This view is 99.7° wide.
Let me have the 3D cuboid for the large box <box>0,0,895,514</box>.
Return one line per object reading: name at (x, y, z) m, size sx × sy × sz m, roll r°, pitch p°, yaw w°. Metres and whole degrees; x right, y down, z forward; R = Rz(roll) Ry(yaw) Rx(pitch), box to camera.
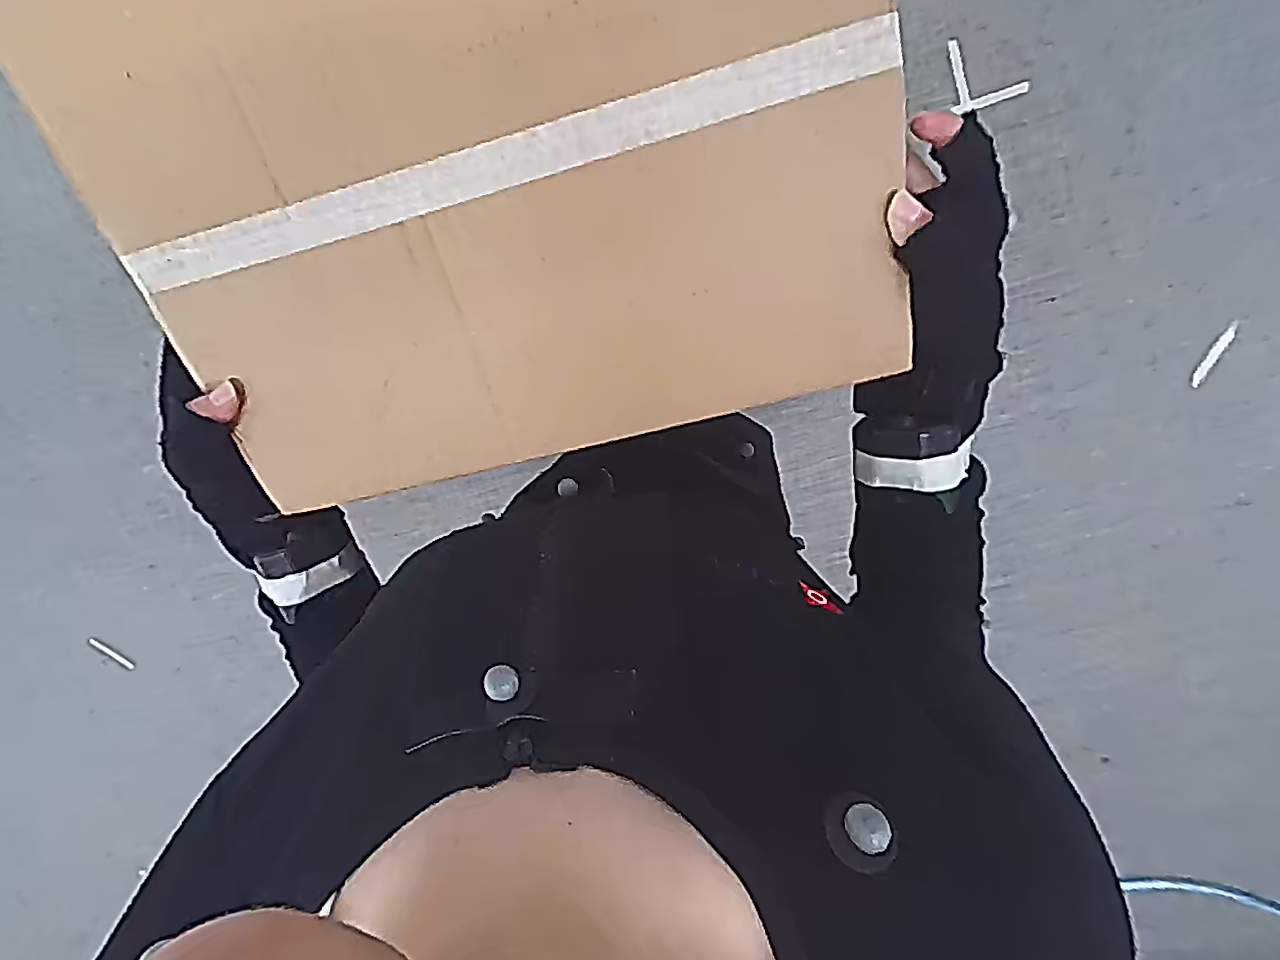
large box at (-0.075, -0.220, 0.415) m, size 0.408 × 0.320 × 0.320 m, roll -13°, pitch 115°, yaw 7°
